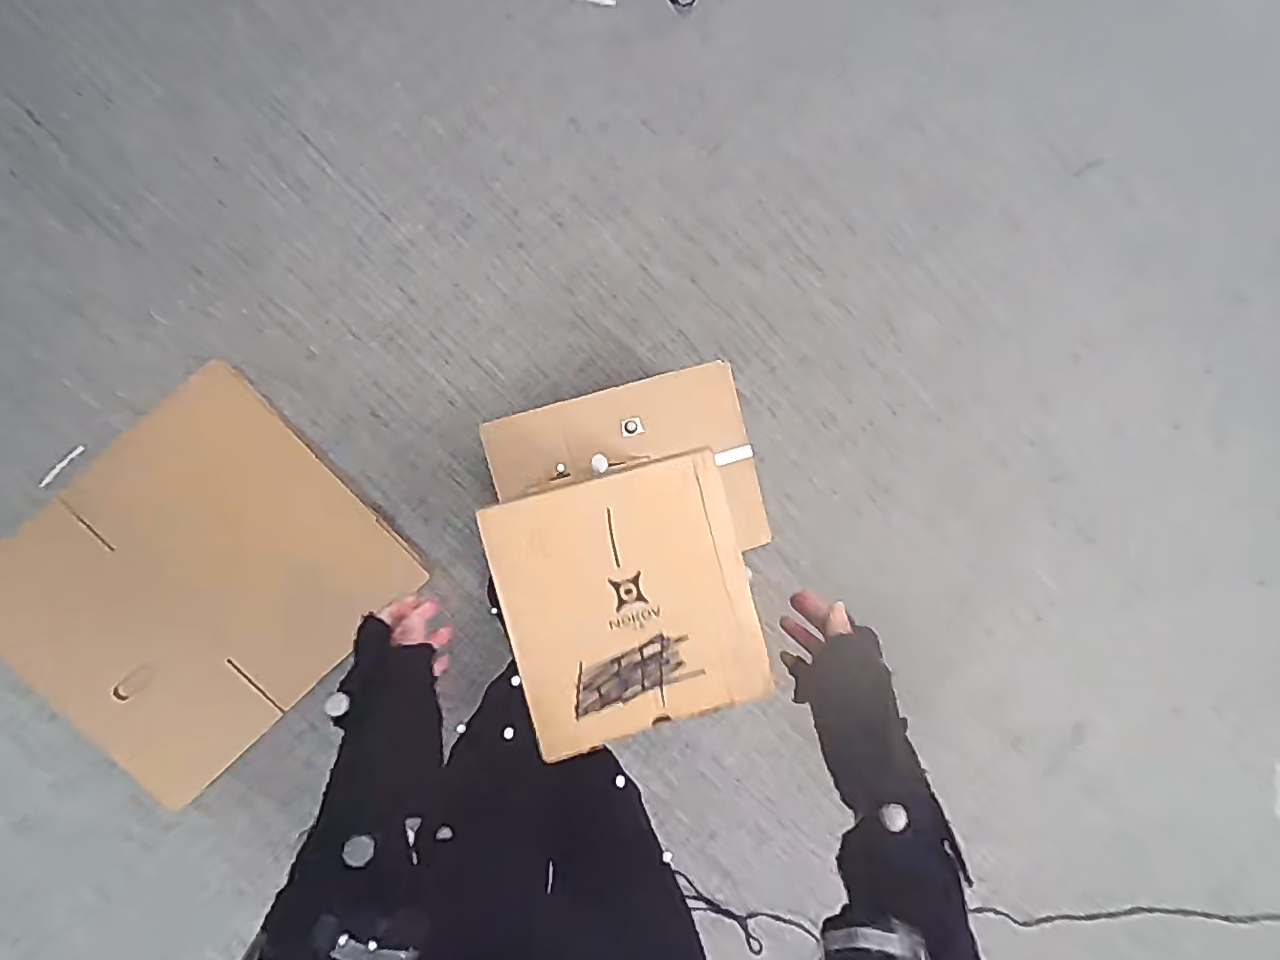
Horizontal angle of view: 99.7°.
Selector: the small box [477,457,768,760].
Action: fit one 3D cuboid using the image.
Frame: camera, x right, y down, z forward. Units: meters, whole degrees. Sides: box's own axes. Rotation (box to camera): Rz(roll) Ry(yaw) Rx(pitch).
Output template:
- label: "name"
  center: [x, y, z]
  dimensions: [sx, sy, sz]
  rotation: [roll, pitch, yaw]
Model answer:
- label: "small box"
  center: [-0.014, 0.085, 0.445]
  dimensions: [0.168, 0.176, 0.179]
  rotation: [-15, 91, -4]
